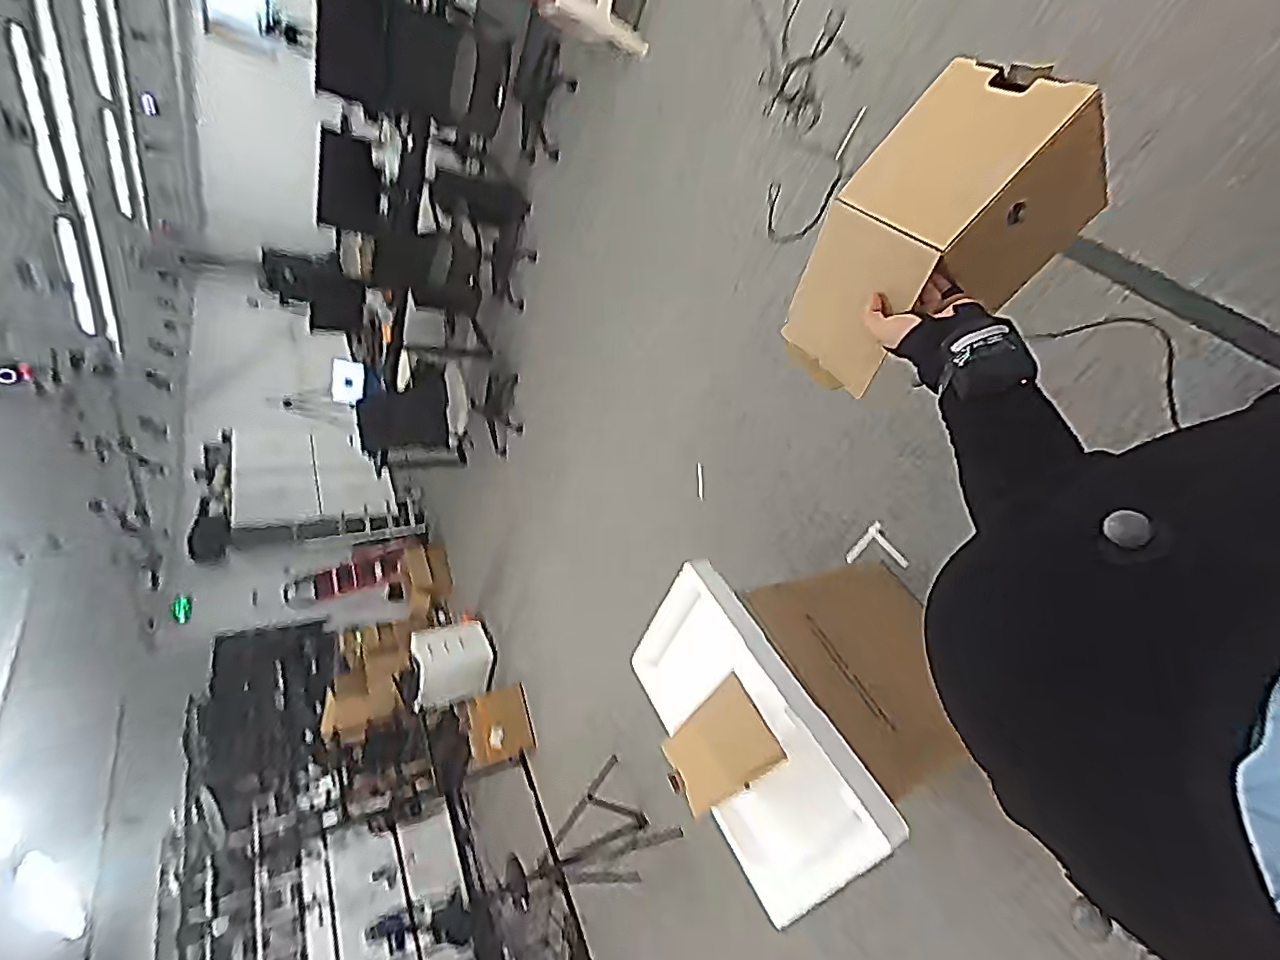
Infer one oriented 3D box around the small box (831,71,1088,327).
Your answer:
[{"bbox_3d":[0.363,-0.307,0.614,0.179,0.176,0.168,-50,48,18],"label":"small box"}]
